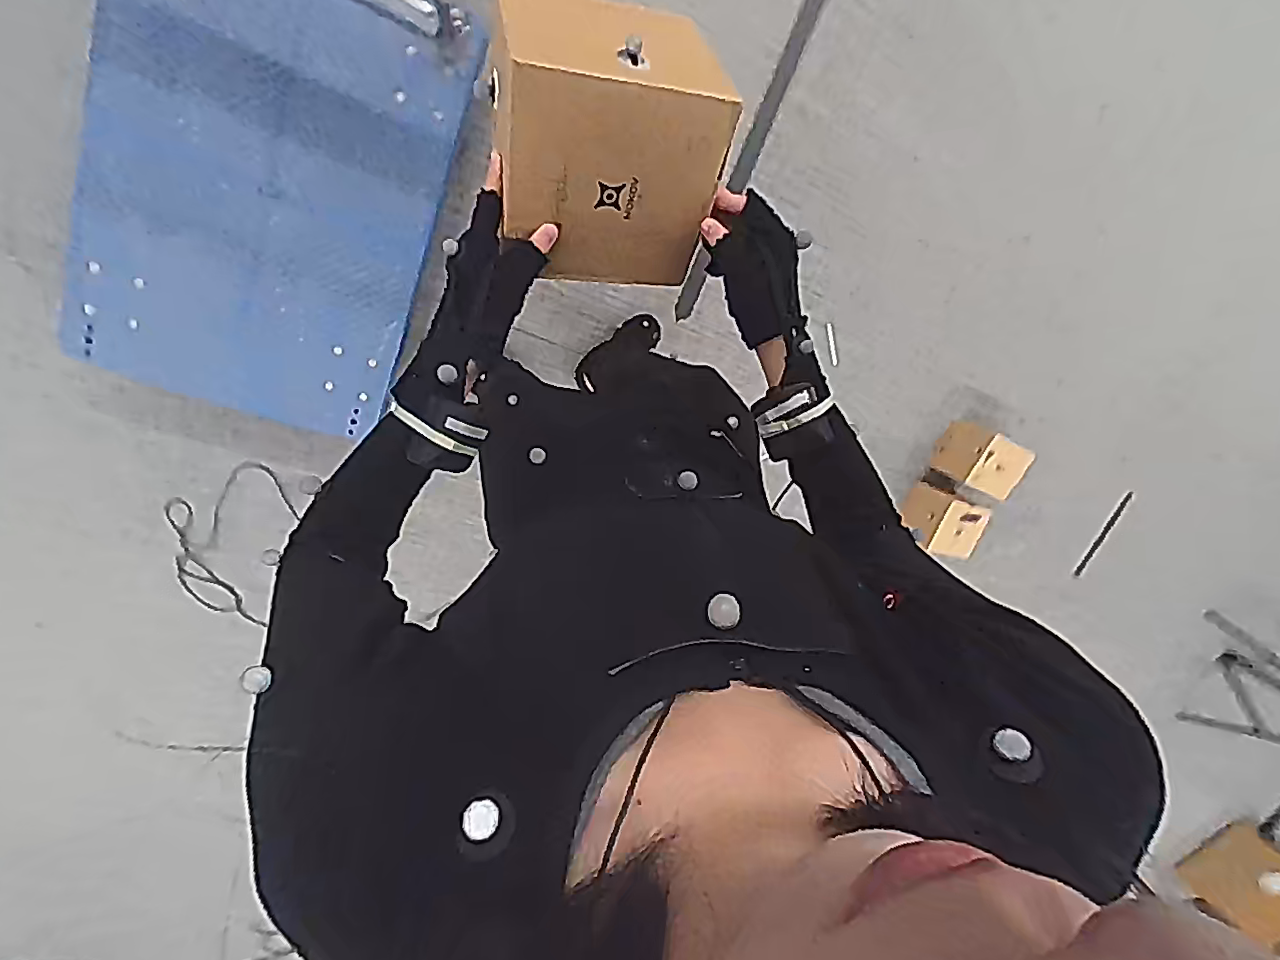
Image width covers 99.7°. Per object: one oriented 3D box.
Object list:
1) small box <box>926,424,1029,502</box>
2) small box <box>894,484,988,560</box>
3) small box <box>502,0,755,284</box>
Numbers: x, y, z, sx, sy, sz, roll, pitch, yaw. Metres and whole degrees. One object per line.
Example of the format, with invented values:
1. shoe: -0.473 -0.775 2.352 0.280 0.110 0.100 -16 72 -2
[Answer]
1. small box: 1.048 -0.058 1.691 0.179 0.176 0.168 22 104 -19
2. small box: 0.960 0.131 1.743 0.168 0.176 0.179 13 108 -16
3. small box: -0.028 -0.301 0.485 0.179 0.176 0.168 -1 145 -16
